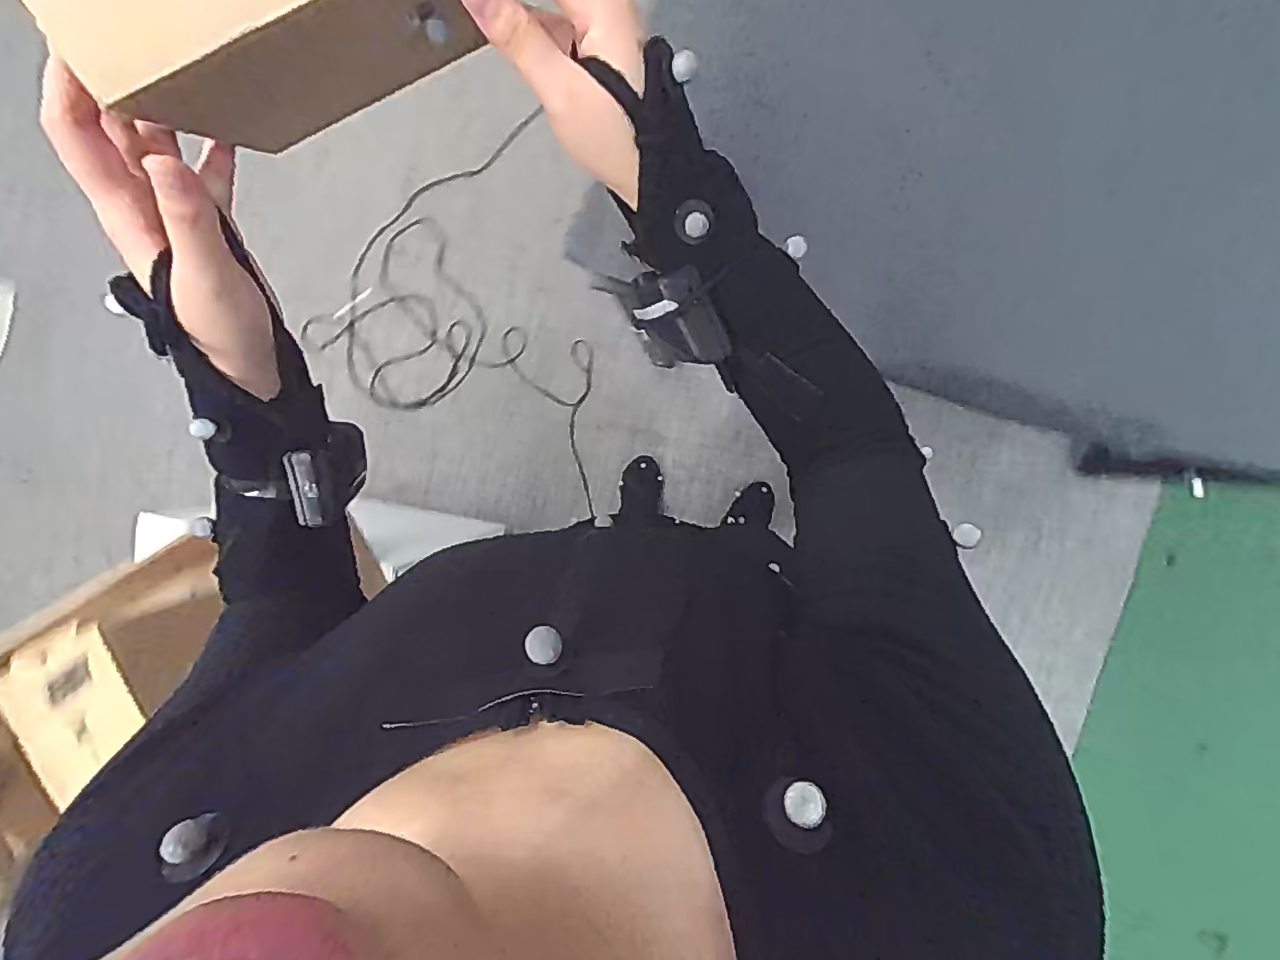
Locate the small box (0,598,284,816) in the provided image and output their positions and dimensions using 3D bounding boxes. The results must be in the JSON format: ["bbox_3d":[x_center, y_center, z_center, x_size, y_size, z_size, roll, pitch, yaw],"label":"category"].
[{"bbox_3d":[-0.608,0.266,0.683,0.168,0.176,0.179,-28,91,9],"label":"small box"}]
